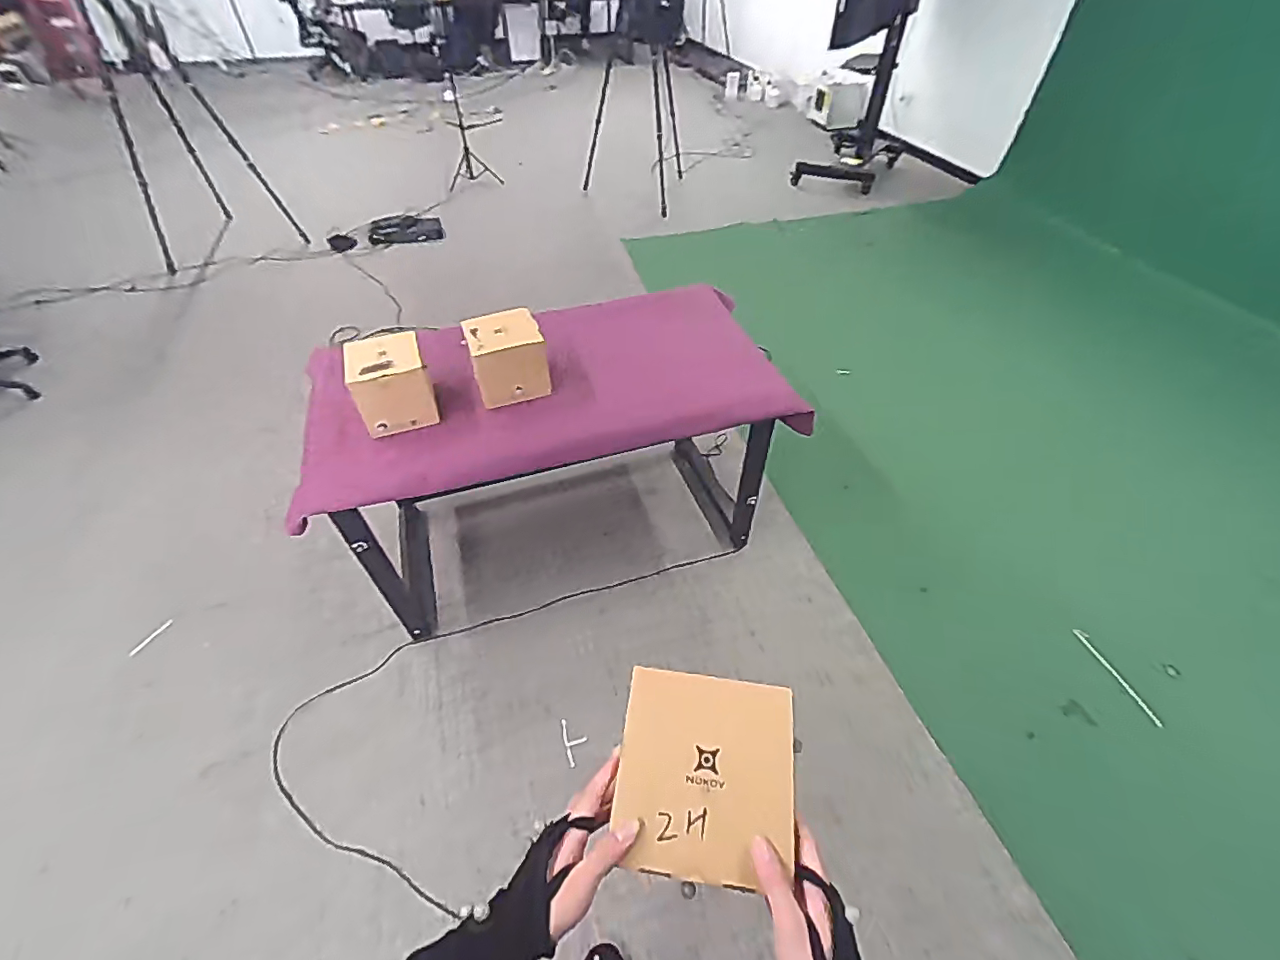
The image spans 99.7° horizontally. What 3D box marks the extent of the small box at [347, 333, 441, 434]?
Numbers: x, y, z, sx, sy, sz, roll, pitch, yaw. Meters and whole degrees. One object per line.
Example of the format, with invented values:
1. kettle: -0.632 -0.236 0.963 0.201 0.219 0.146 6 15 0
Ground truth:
1. small box: -0.599 -0.230 1.327 0.168 0.176 0.179 -16 48 -15

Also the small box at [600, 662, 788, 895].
1. small box: 0.059 0.315 0.576 0.168 0.176 0.179 6 56 7

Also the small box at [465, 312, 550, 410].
1. small box: -0.337 -0.307 1.399 0.179 0.176 0.168 -16 49 -15
